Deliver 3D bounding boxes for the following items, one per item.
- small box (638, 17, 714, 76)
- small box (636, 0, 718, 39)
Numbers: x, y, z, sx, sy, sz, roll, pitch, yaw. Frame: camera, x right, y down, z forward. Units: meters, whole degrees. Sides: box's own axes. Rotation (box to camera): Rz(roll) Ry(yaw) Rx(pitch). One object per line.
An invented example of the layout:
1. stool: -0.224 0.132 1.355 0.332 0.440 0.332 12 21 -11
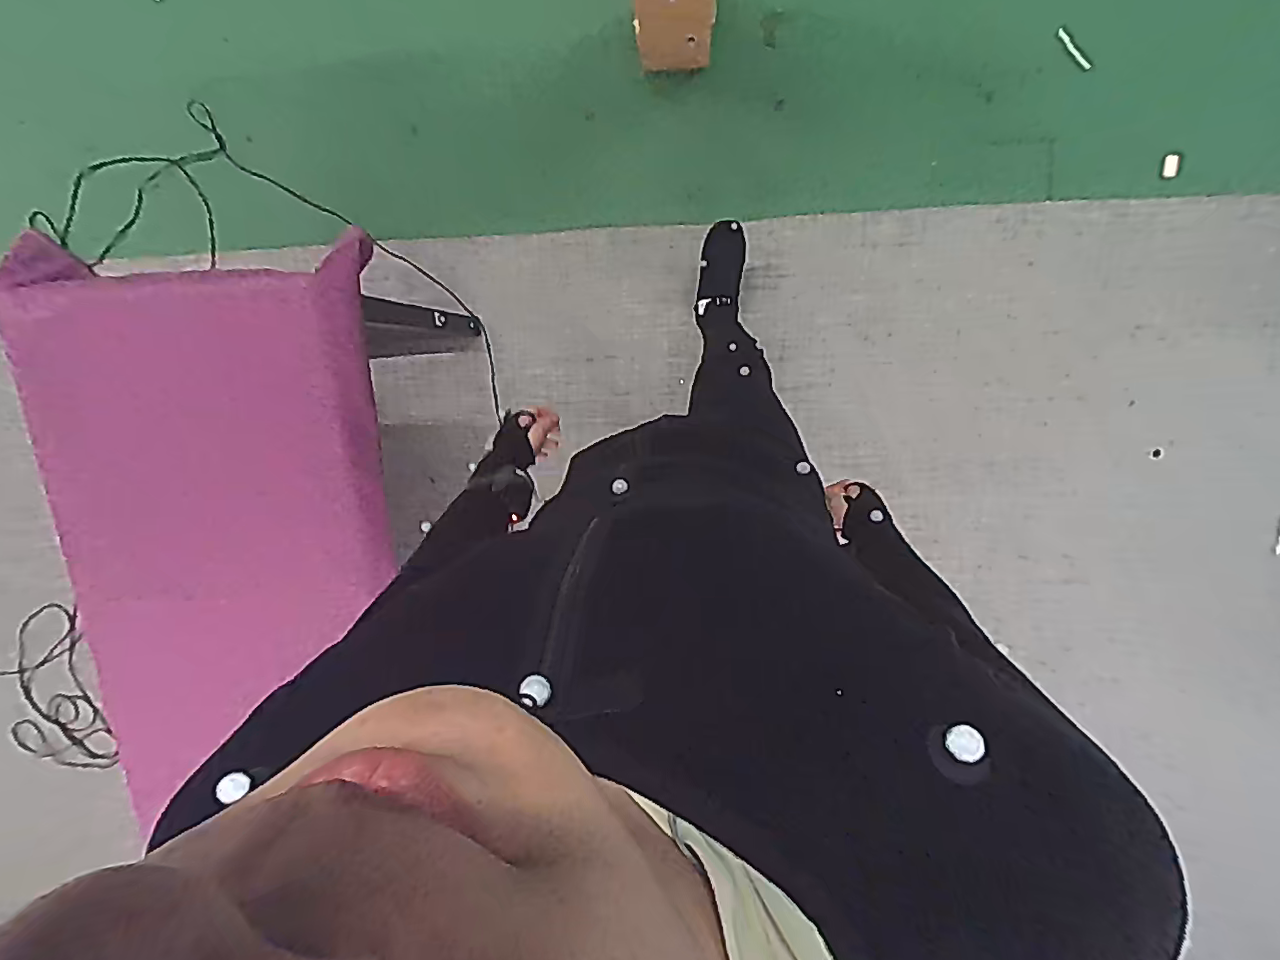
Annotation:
1. small box: 0.088 -1.115 1.307 0.179 0.176 0.168 0 102 6
2. small box: 0.077 -1.085 1.148 0.179 0.176 0.168 -3 101 8
